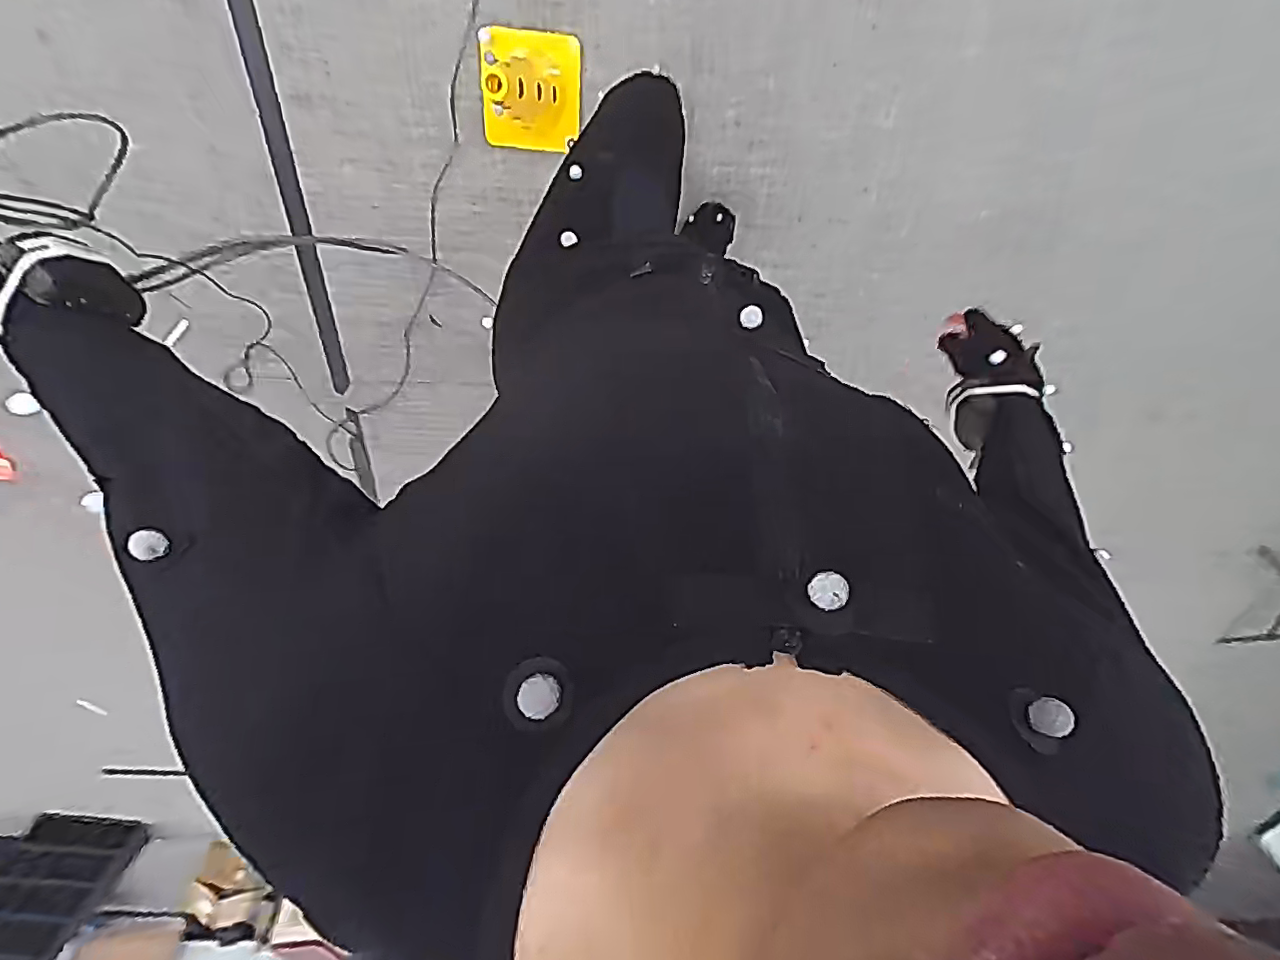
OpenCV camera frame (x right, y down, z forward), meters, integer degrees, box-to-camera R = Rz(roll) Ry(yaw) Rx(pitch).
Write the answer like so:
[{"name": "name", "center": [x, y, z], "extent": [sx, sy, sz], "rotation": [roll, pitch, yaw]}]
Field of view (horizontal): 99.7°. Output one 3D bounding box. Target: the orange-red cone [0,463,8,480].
[{"name": "orange-red cone", "center": [-1.970, 0.016, 1.420], "extent": [0.198, 0.360, 0.199], "rotation": [-1, 125, 1]}]
